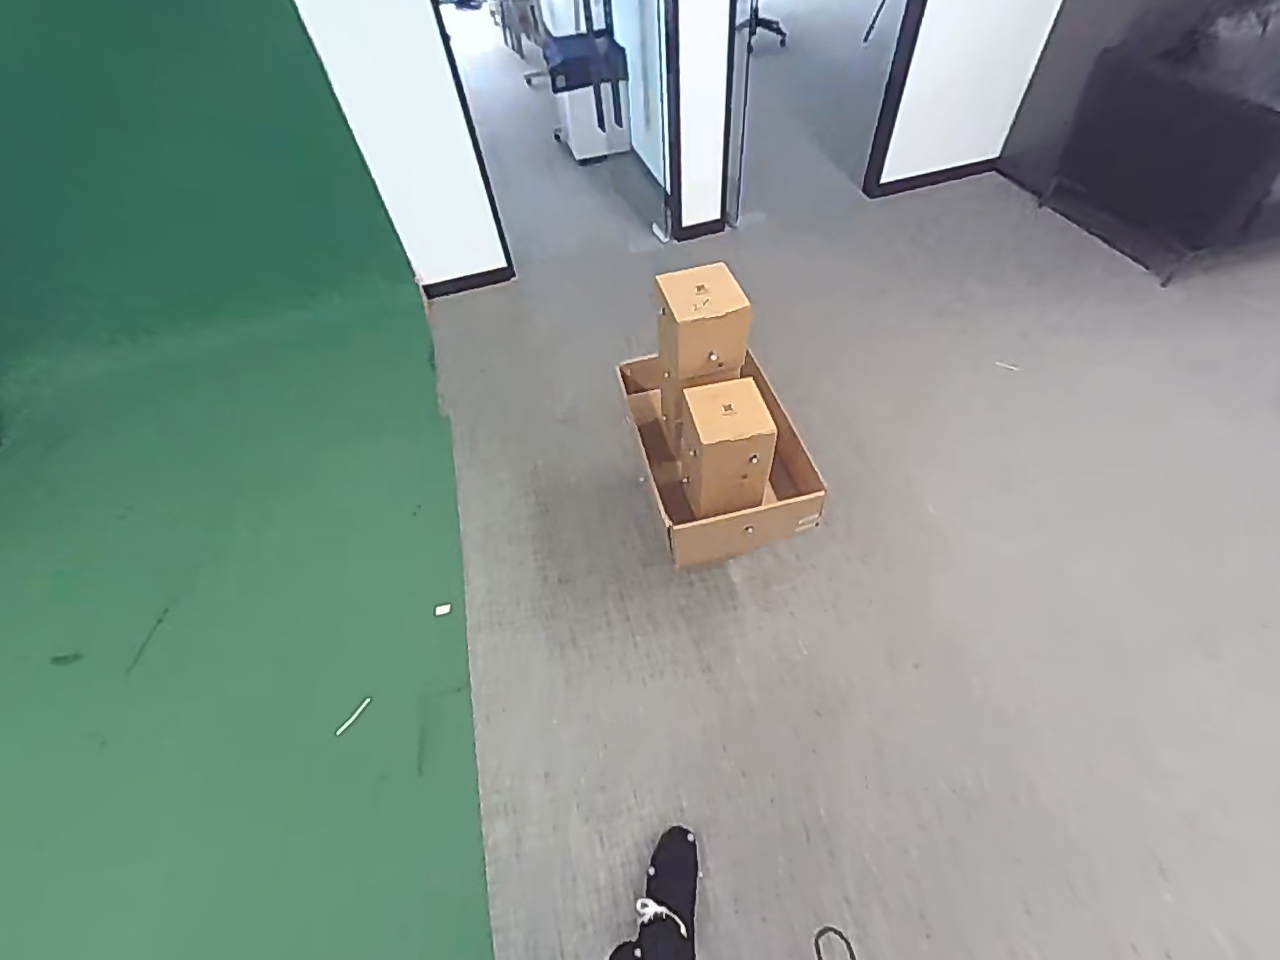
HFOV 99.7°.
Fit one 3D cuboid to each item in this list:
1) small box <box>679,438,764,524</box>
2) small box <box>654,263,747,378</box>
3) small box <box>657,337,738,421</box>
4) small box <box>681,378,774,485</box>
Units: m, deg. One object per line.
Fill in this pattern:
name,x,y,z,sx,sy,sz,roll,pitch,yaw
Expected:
small box,0.202,-0.005,1.368,0.168,0.176,0.179,-13,51,-4
small box,0.132,-0.365,1.244,0.168,0.176,0.179,-15,55,-5
small box,0.141,-0.280,1.386,0.168,0.176,0.179,-13,55,-5
small box,0.195,-0.104,1.239,0.168,0.176,0.179,-11,51,-4
